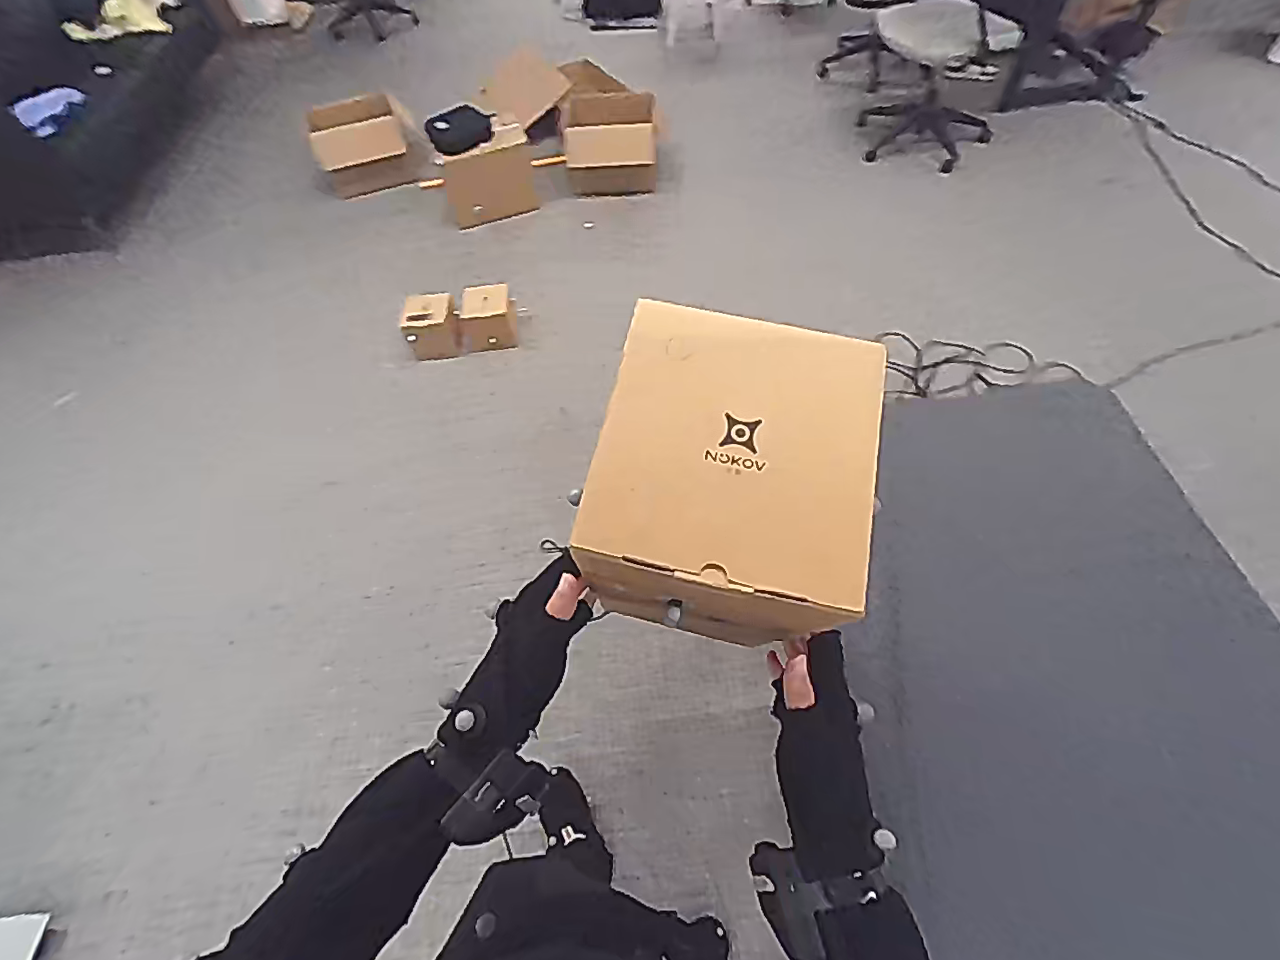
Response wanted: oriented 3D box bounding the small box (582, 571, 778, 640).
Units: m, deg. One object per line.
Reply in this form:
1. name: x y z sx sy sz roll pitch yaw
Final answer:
1. small box: 0.052 0.061 0.555 0.179 0.176 0.168 13 70 4

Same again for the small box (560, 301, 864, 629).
1. small box: 0.049 0.002 0.404 0.168 0.176 0.179 11 70 4

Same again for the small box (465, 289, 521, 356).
1. small box: -0.558 -0.603 2.073 0.168 0.176 0.179 -7 56 0
